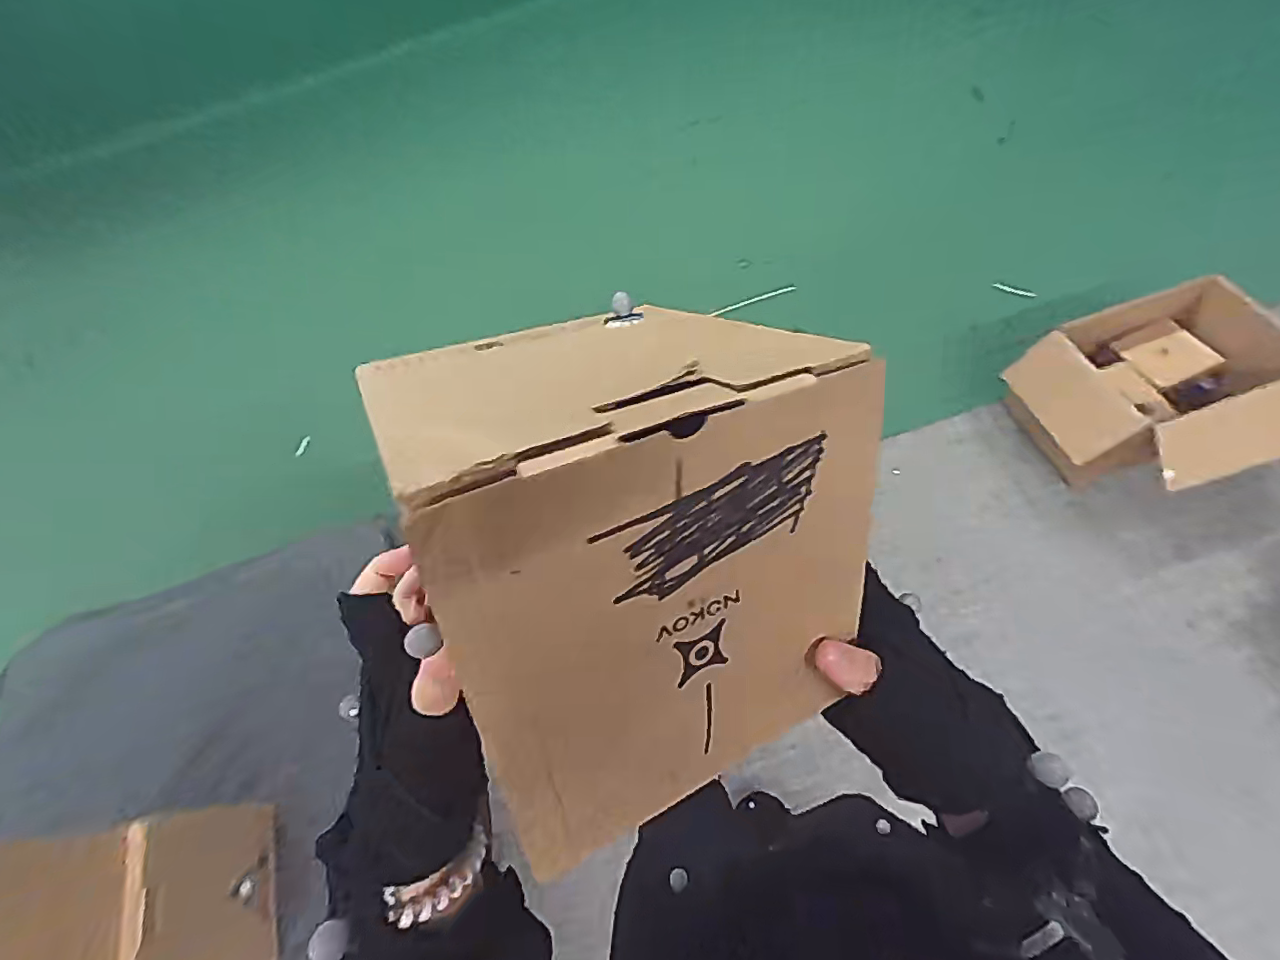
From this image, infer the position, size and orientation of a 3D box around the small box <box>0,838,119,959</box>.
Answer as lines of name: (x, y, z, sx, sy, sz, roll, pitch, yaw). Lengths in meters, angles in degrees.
small box: (-0.545, 0.399, 0.398, 0.168, 0.176, 0.179, -23, 62, -2)

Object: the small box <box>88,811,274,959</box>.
small box: (-0.514, 0.460, 0.547, 0.179, 0.176, 0.168, -21, 63, -2)

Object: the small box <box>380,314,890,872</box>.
small box: (-0.013, 0.022, 0.263, 0.168, 0.179, 0.176, -18, 30, -22)
